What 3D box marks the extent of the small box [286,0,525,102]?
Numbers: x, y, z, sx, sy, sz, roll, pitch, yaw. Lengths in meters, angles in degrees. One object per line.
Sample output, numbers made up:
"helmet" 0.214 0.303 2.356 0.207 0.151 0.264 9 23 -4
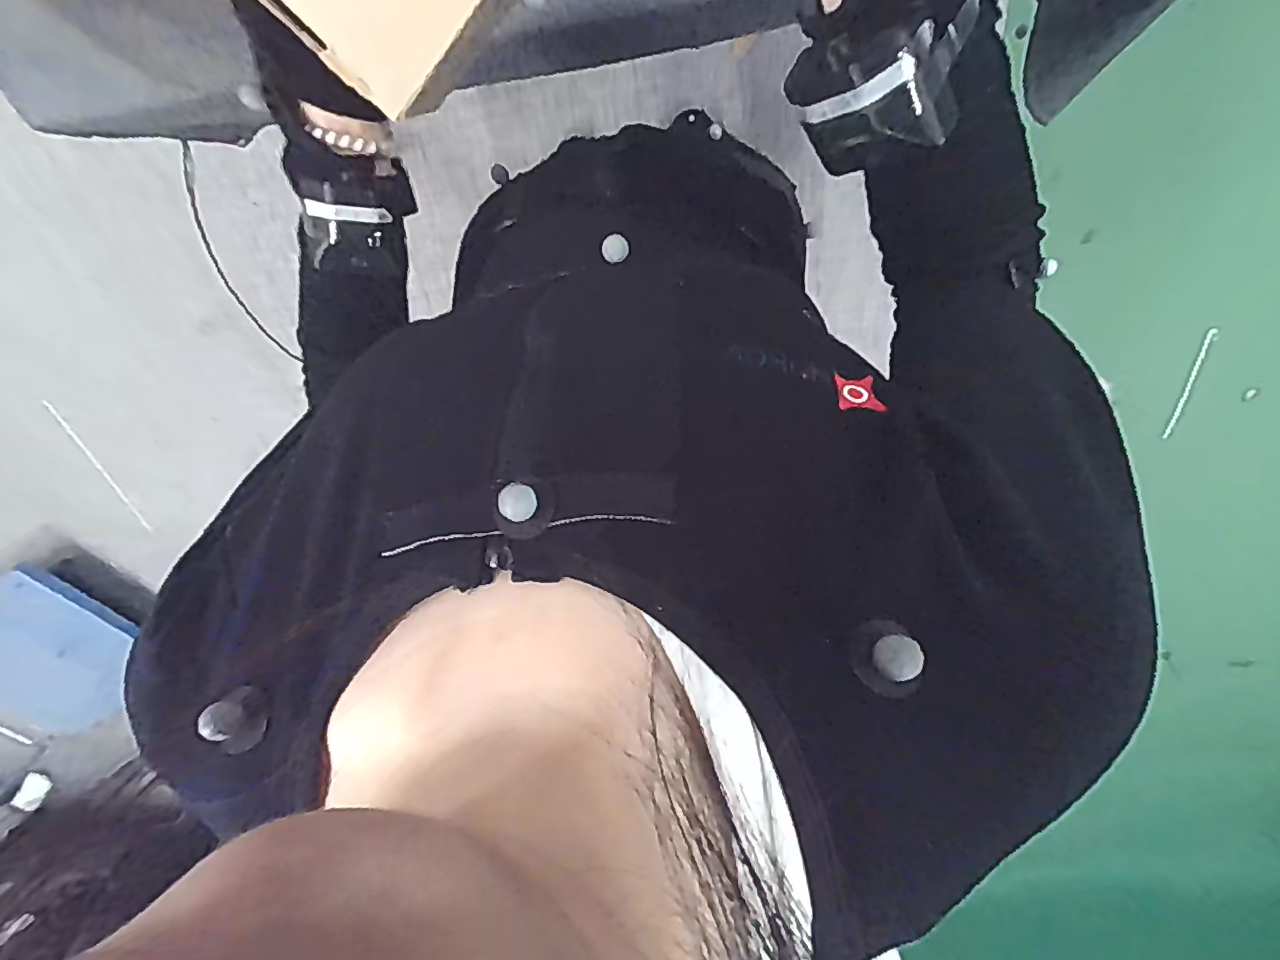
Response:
"small box" -0.101 -0.284 0.208 0.179 0.176 0.168 -44 123 15
